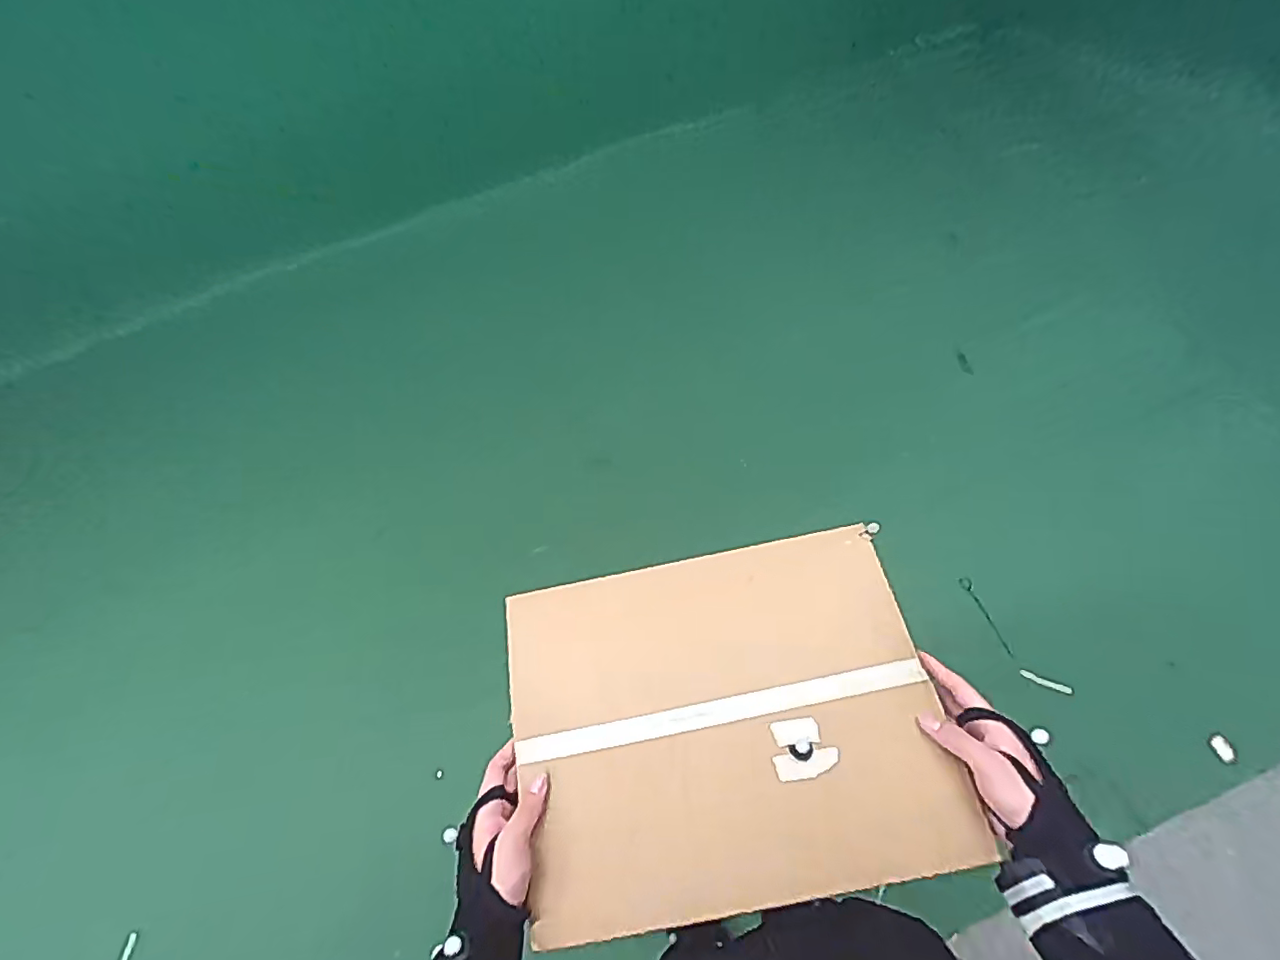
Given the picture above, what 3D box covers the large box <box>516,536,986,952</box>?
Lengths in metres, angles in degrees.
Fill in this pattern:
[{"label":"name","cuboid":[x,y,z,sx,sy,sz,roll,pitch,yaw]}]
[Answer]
[{"label":"large box","cuboid":[0.095,0.304,0.667,0.408,0.320,0.320,-12,63,1]}]
